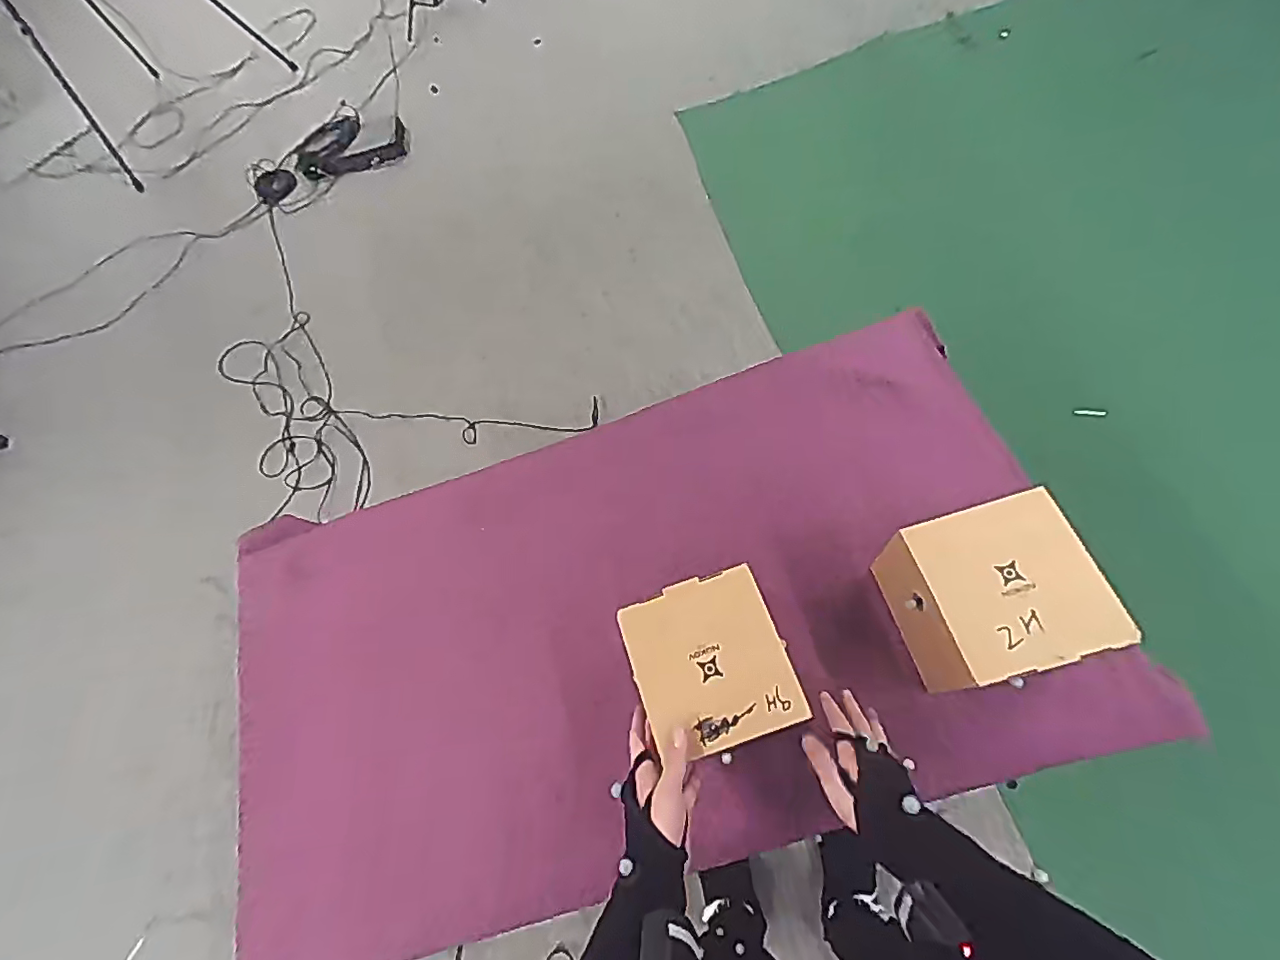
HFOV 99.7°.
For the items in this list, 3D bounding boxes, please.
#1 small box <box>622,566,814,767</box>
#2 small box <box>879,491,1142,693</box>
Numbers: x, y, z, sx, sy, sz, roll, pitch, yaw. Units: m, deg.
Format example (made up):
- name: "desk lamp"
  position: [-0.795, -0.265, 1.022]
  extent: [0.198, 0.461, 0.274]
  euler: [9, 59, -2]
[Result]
- name: "small box"
  position: [0.092, 0.231, 0.662]
  extent: [0.168, 0.176, 0.179]
  euler: [-21, 64, 3]
- name: "small box"
  position: [0.406, 0.140, 0.638]
  extent: [0.168, 0.176, 0.179]
  euler: [-18, 65, 5]
